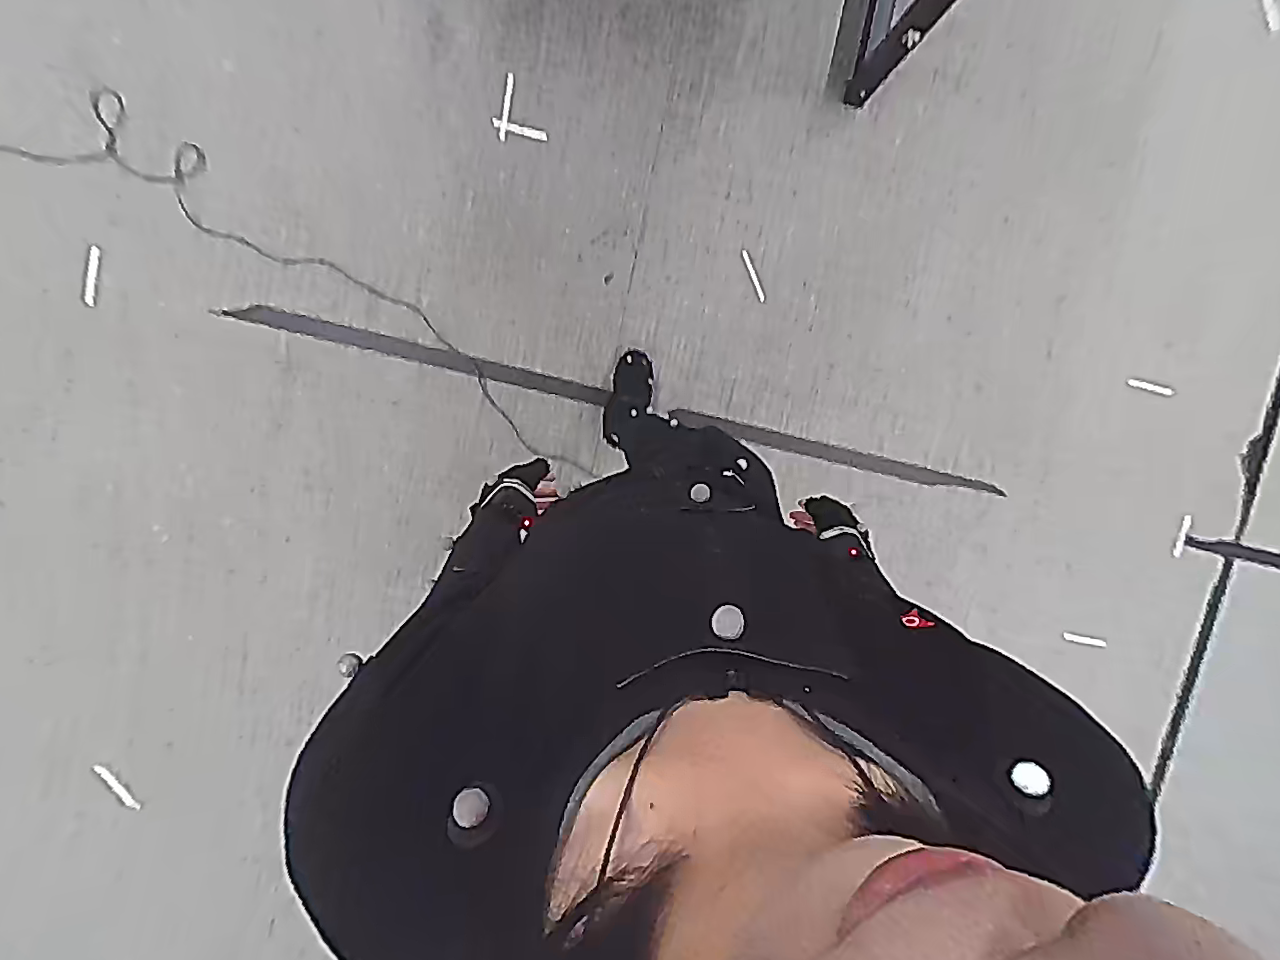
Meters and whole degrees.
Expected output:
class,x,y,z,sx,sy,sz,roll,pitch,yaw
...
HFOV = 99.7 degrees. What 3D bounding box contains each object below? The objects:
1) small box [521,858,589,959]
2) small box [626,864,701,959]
class,x,y,z,sx,sy,sz,roll,pitch,yaw
small box,-0.234,1.217,1.520,0.168,0.176,0.179,-7,96,-6
small box,0.060,1.247,1.553,0.179,0.176,0.168,11,95,-7
